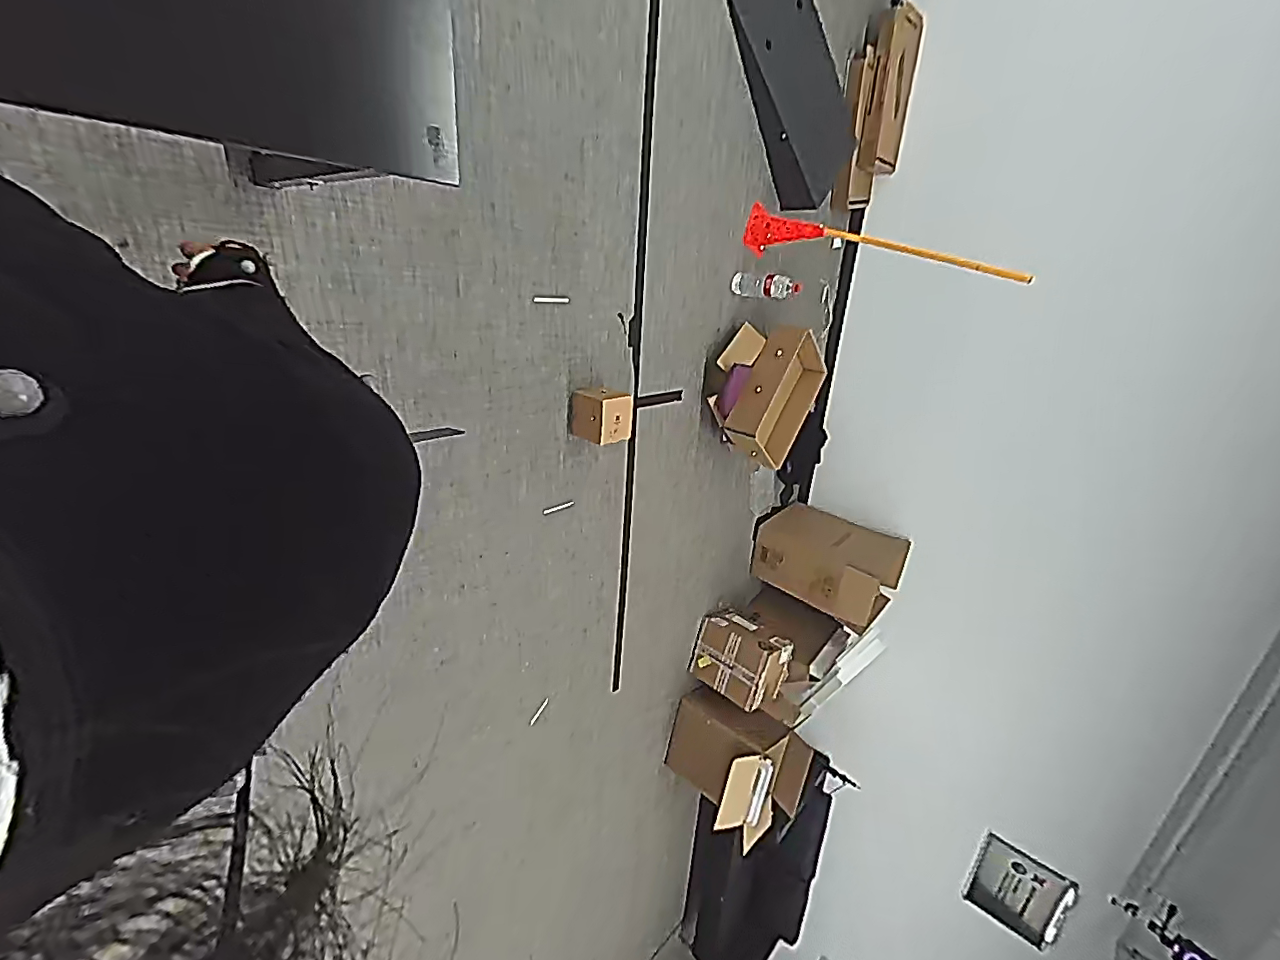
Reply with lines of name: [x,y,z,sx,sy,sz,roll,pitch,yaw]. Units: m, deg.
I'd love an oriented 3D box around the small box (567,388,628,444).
small box: [-0.165,-0.254,2.084,0.168,0.176,0.179,-18,121,-45]
